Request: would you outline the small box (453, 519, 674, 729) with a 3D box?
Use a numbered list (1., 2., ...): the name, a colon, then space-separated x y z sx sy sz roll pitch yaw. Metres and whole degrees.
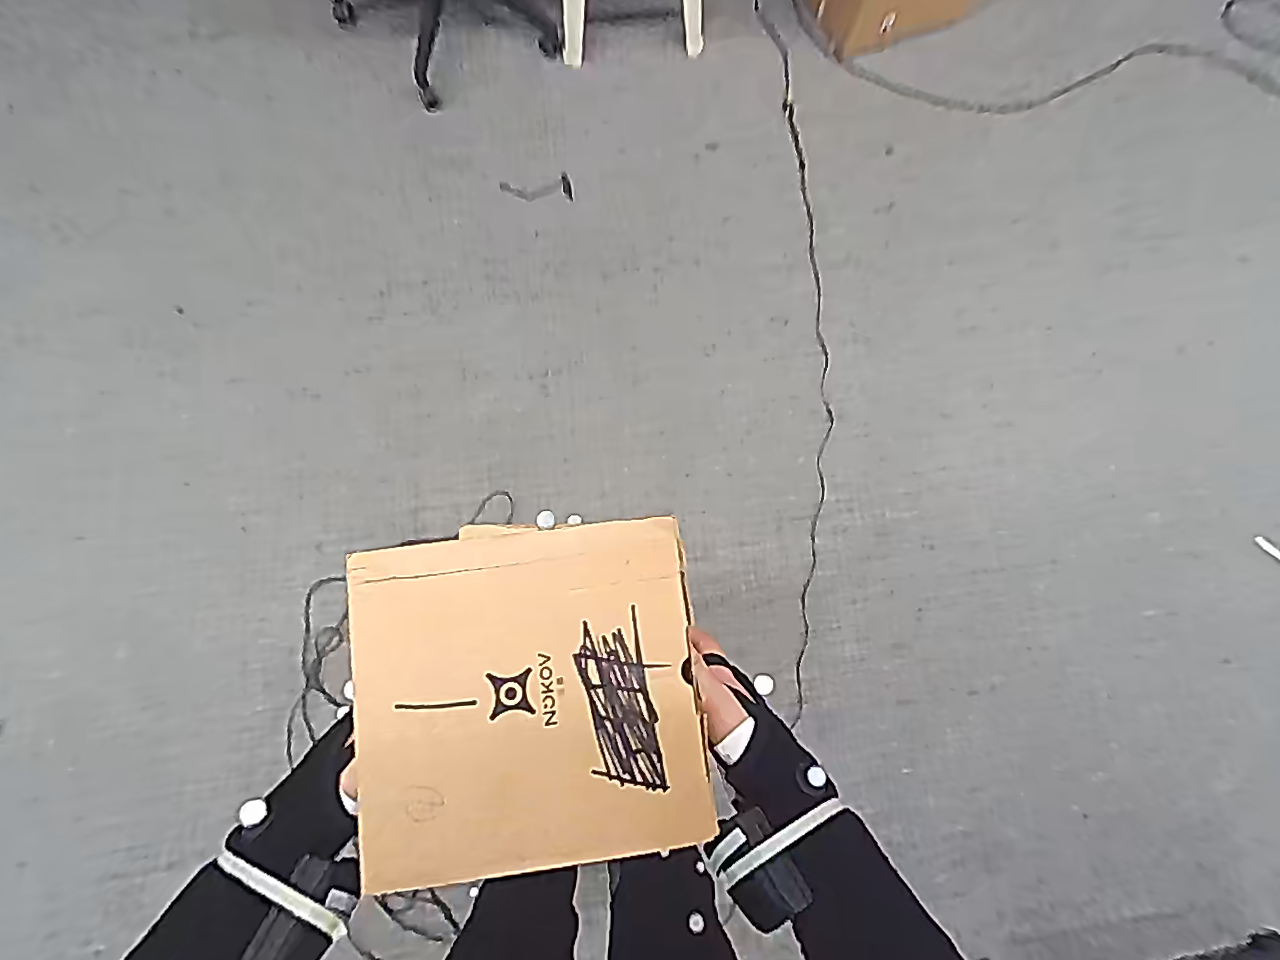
1. small box: -0.063 0.126 0.514 0.179 0.176 0.168 -1 82 -2
